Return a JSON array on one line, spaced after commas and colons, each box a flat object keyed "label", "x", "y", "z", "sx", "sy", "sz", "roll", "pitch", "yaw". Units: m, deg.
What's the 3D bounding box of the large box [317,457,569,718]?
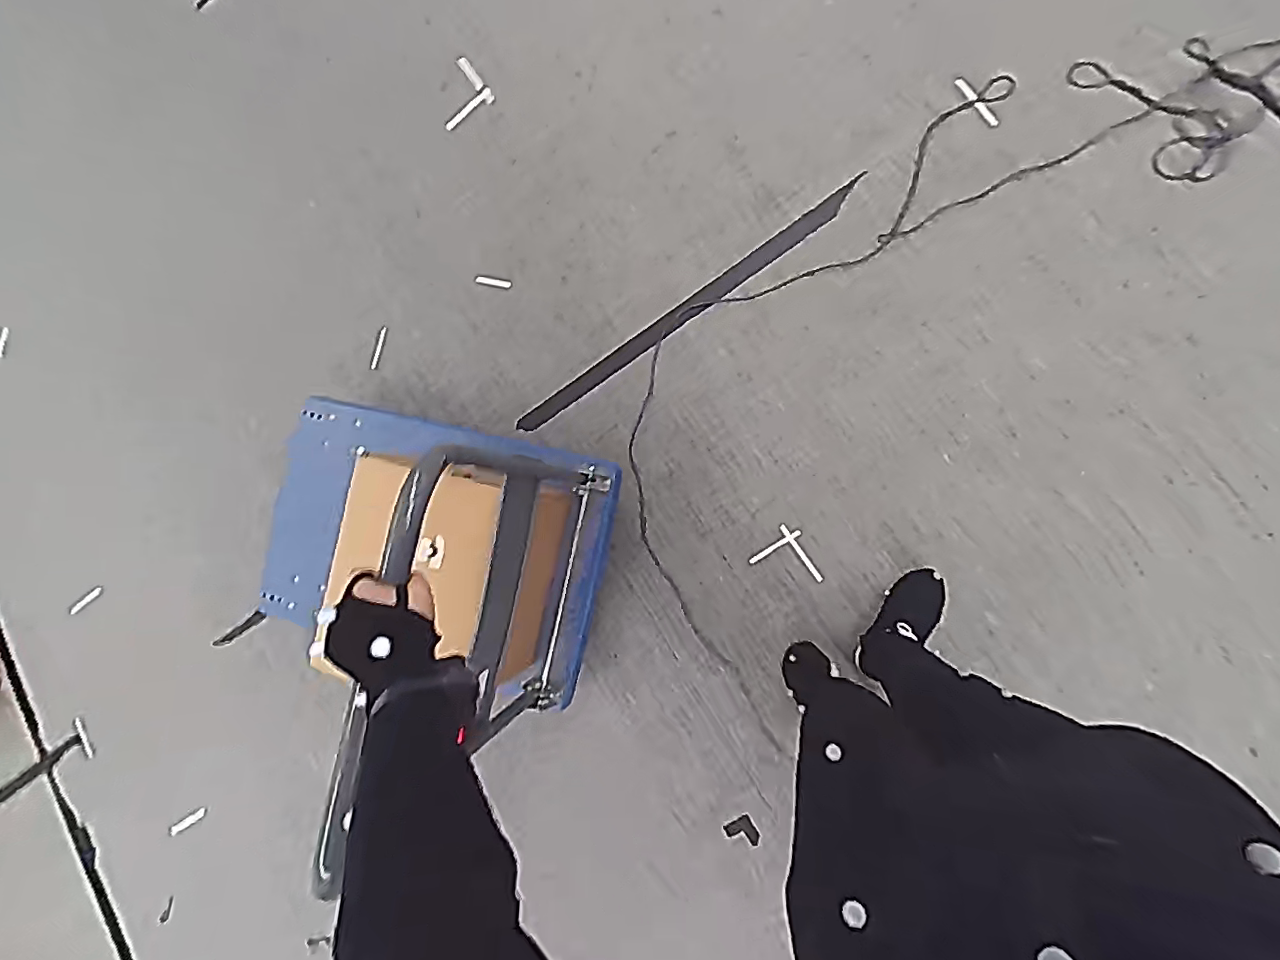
[{"label": "large box", "x": -0.373, "y": 0.193, "z": 1.098, "sx": 0.320, "sy": 0.320, "sz": 0.408, "roll": 13, "pitch": 89, "yaw": 13}]
